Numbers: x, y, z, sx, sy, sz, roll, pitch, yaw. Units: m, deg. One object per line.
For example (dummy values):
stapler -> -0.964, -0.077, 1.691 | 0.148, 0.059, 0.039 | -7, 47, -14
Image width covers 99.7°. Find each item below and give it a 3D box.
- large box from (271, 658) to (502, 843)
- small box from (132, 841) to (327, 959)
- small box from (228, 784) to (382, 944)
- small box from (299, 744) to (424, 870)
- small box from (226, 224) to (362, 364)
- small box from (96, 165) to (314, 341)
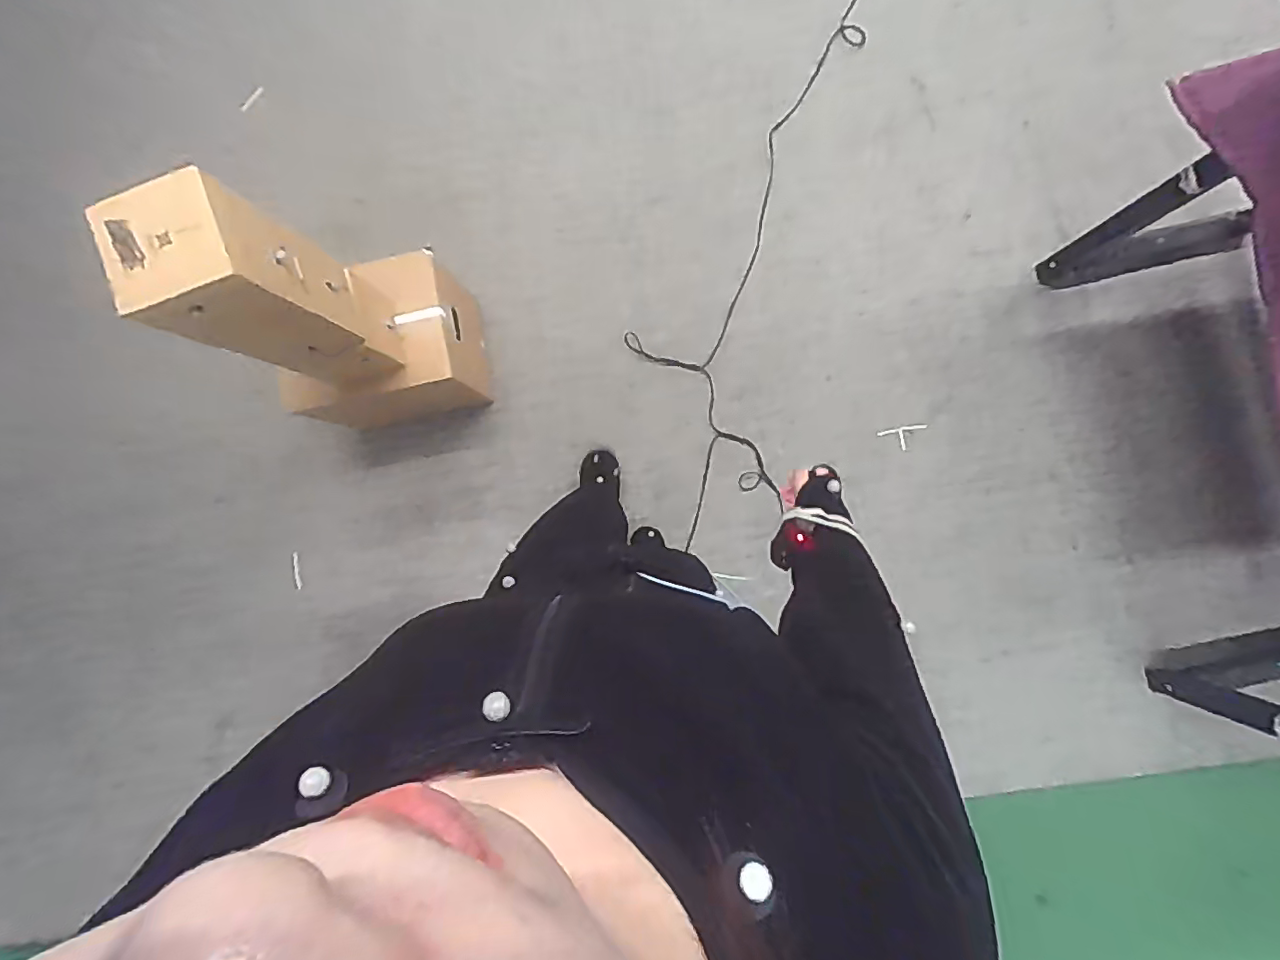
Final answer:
large box -> -0.613, 0.679, 1.370 | 0.408, 0.320, 0.320 | -11, 88, 4
small box -> -0.595, 0.675, 0.799 | 0.168, 0.176, 0.179 | 5, 89, 3
small box -> -0.592, 0.671, 0.963 | 0.179, 0.176, 0.168 | 4, 90, 2
small box -> -0.575, 0.669, 1.125 | 0.179, 0.176, 0.168 | 0, 89, 3
small box -> -0.646, -0.332, 1.000 | 0.179, 0.176, 0.168 | -19, 88, 2
small box -> -0.655, -0.334, 0.835 | 0.179, 0.176, 0.168 | -20, 89, 2
